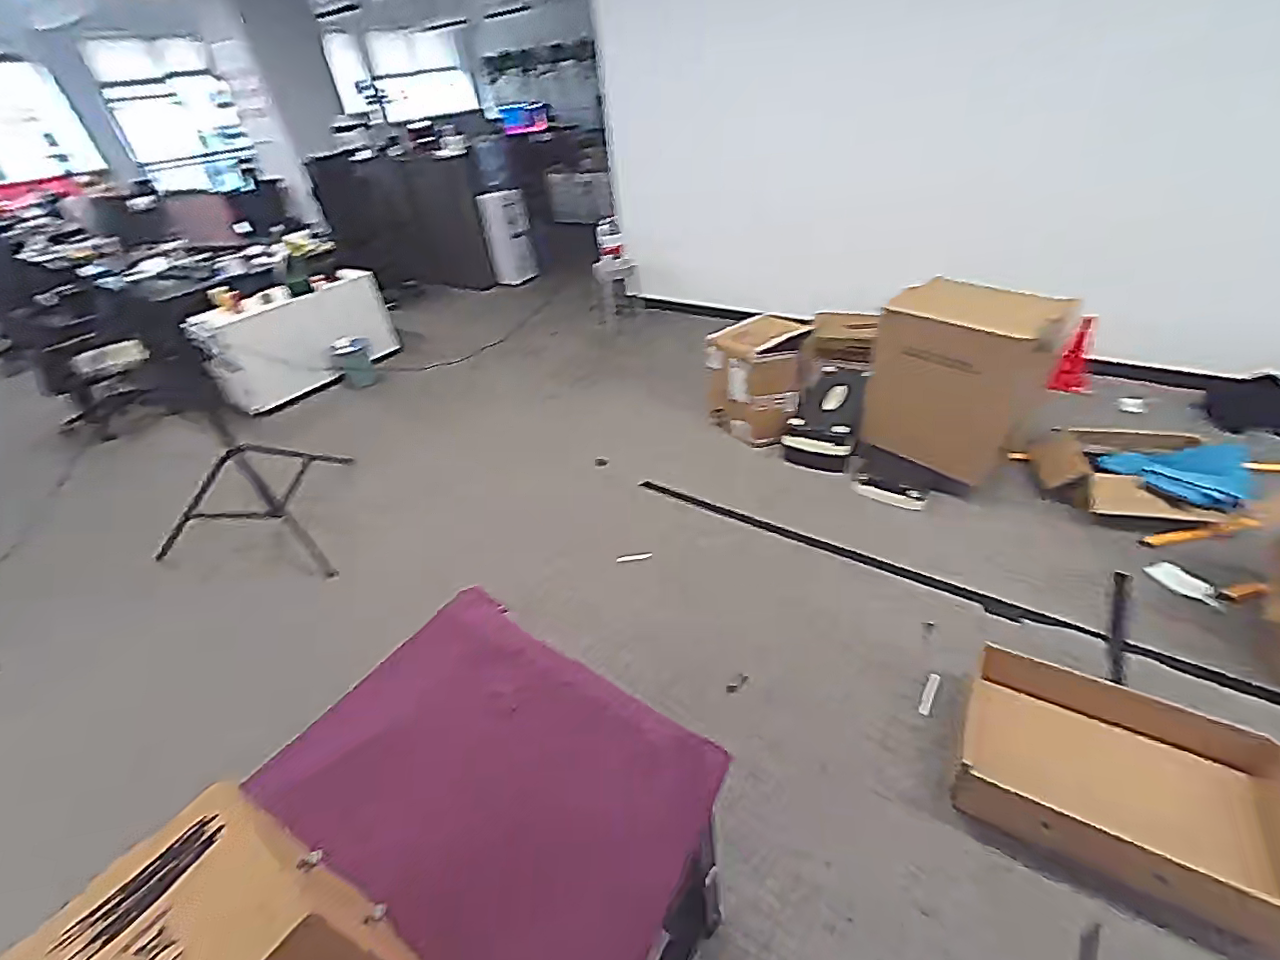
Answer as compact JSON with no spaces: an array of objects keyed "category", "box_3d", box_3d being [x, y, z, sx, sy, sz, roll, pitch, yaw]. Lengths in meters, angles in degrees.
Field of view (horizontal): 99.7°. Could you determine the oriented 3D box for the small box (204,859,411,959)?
[{"category":"small box","box_3d":[-0.332,0.541,0.541,0.179,0.176,0.168,18,44,31]}]
